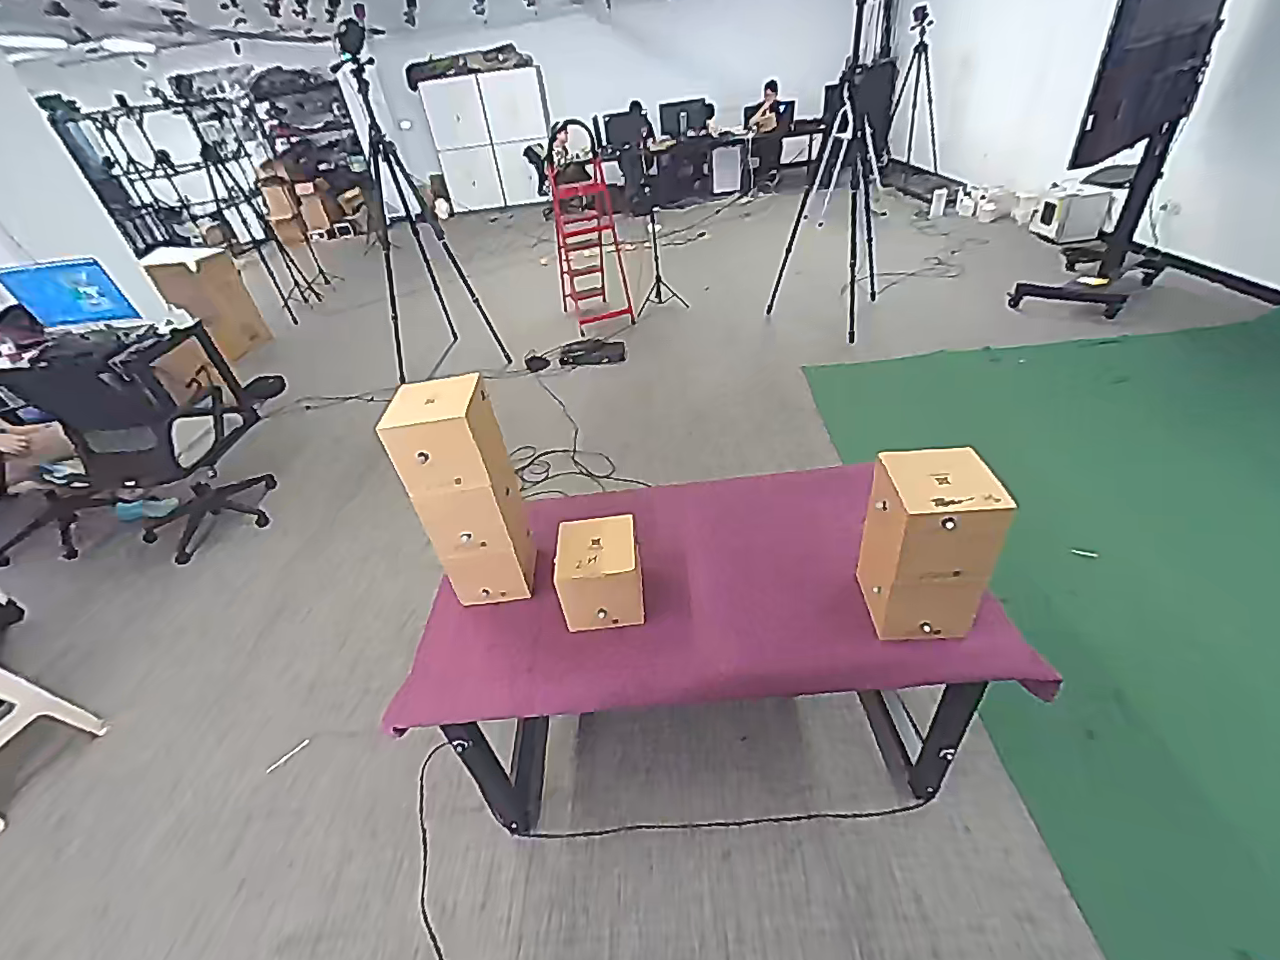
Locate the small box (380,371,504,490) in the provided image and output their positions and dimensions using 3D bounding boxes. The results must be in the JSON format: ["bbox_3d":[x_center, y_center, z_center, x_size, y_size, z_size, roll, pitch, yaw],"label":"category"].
[{"bbox_3d":[-0.382,-0.093,1.080,0.168,0.176,0.179,-9,37,1],"label":"small box"}]

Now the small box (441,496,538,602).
[{"bbox_3d":[-0.344,0.163,1.277,0.168,0.176,0.179,-8,38,2],"label":"small box"}]

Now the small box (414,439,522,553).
[{"bbox_3d":[-0.362,0.034,1.179,0.168,0.176,0.179,-8,38,2],"label":"small box"}]

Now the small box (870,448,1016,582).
[{"bbox_3d":[0.524,0.062,0.967,0.168,0.176,0.179,-4,36,8],"label":"small box"}]

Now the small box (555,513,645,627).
[{"bbox_3d":[-0.081,0.197,1.183,0.168,0.176,0.179,-7,38,3],"label":"small box"}]
